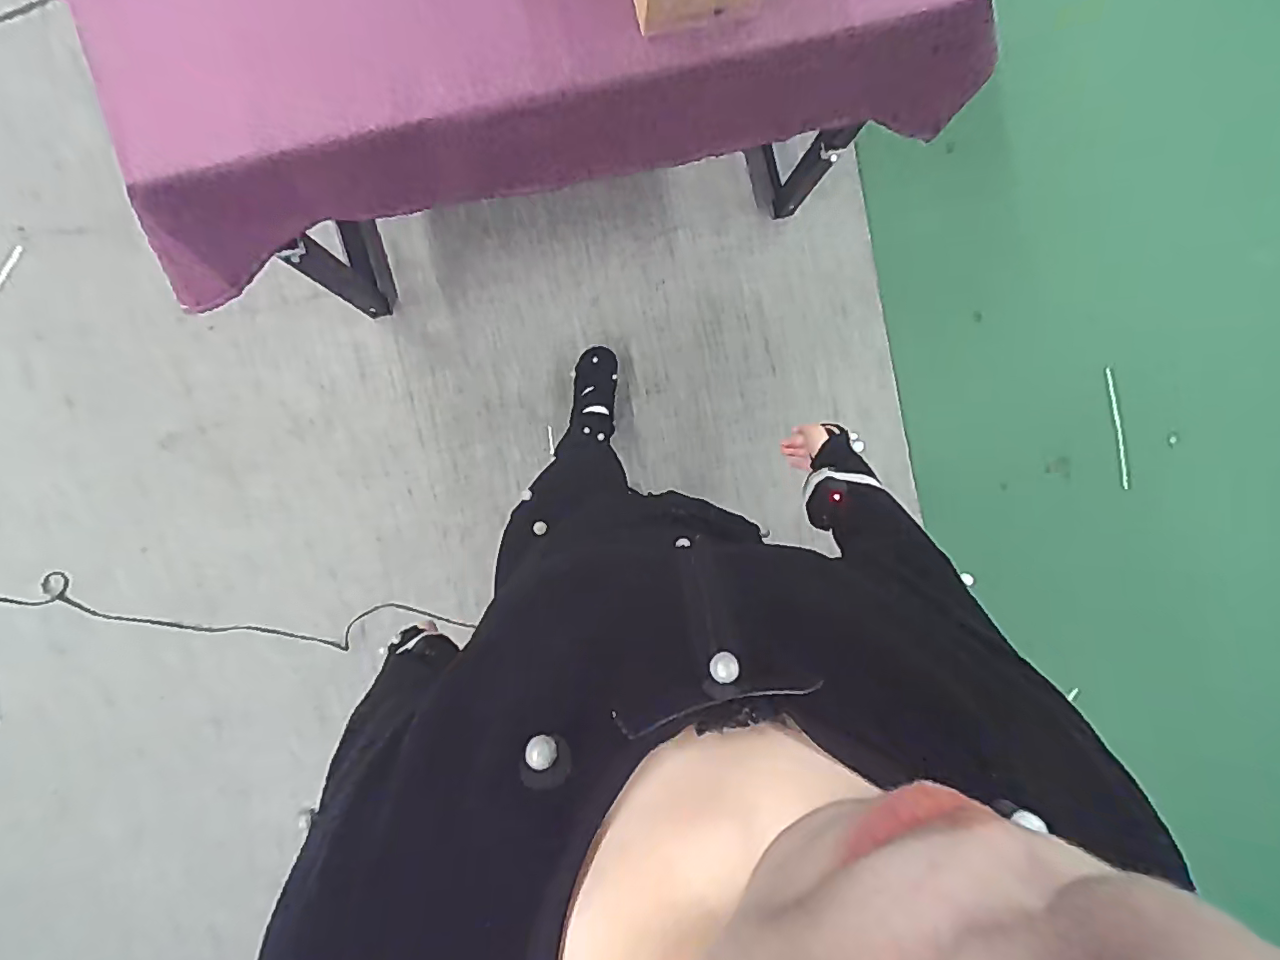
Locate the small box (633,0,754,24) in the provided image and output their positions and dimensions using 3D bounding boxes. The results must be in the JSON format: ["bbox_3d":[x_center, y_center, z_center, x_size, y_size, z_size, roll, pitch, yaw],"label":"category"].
[{"bbox_3d":[0.066,-0.703,0.655,0.168,0.176,0.179,-14,93,-5],"label":"small box"}]
